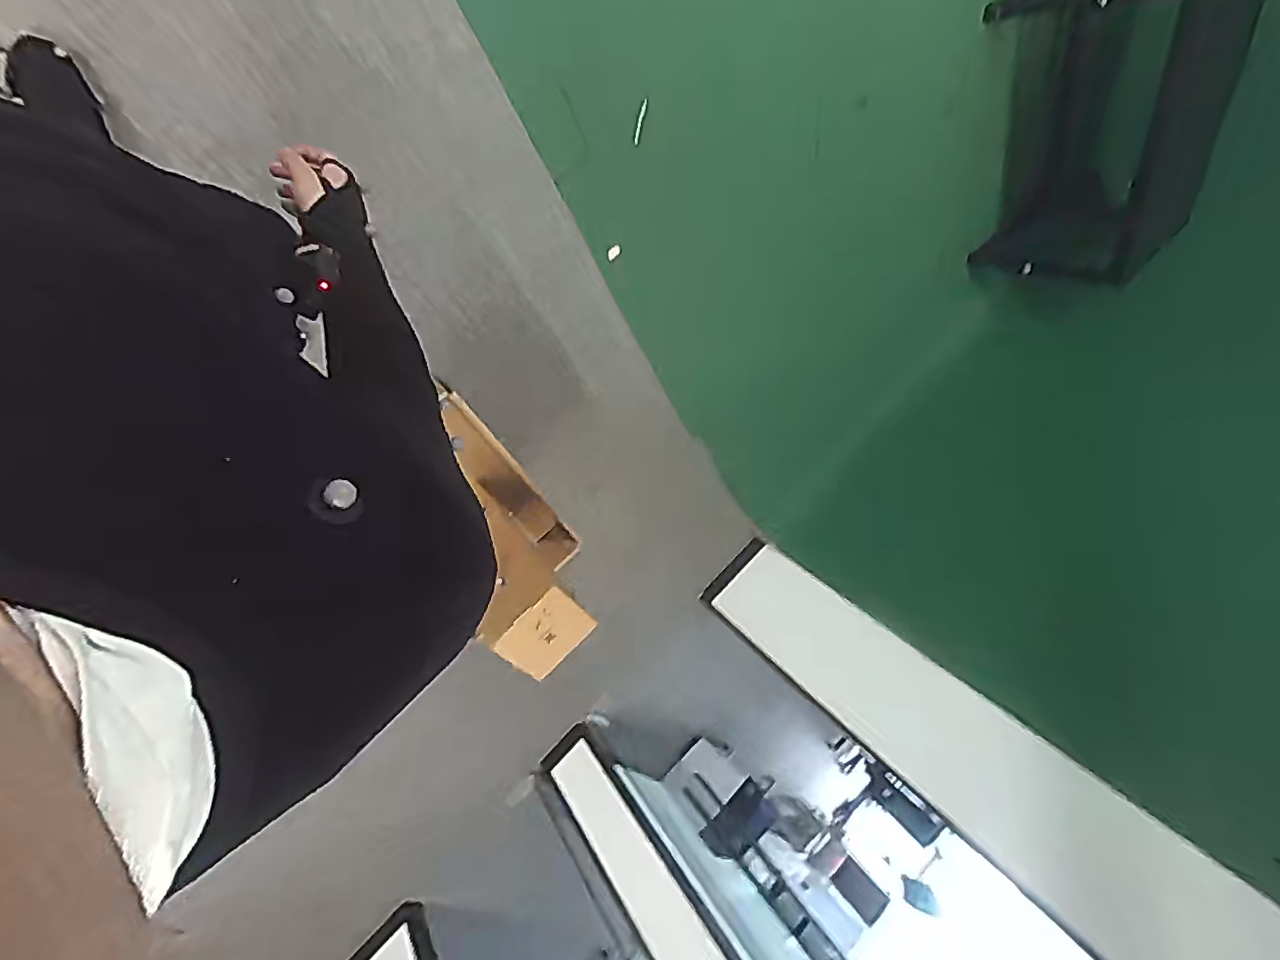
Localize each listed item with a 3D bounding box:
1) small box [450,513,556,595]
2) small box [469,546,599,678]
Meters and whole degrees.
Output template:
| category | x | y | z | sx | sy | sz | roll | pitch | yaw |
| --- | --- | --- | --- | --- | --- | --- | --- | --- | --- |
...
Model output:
| category | x | y | z | sx | sy | sz | roll | pitch | yaw |
| --- | --- | --- | --- | --- | --- | --- | --- | --- | --- |
| small box | -0.306 | 0.206 | 1.250 | 0.168 | 0.176 | 0.179 | -41 | 132 | -10 |
| small box | -0.221 | 0.268 | 1.122 | 0.168 | 0.176 | 0.179 | -43 | 132 | -9 |
